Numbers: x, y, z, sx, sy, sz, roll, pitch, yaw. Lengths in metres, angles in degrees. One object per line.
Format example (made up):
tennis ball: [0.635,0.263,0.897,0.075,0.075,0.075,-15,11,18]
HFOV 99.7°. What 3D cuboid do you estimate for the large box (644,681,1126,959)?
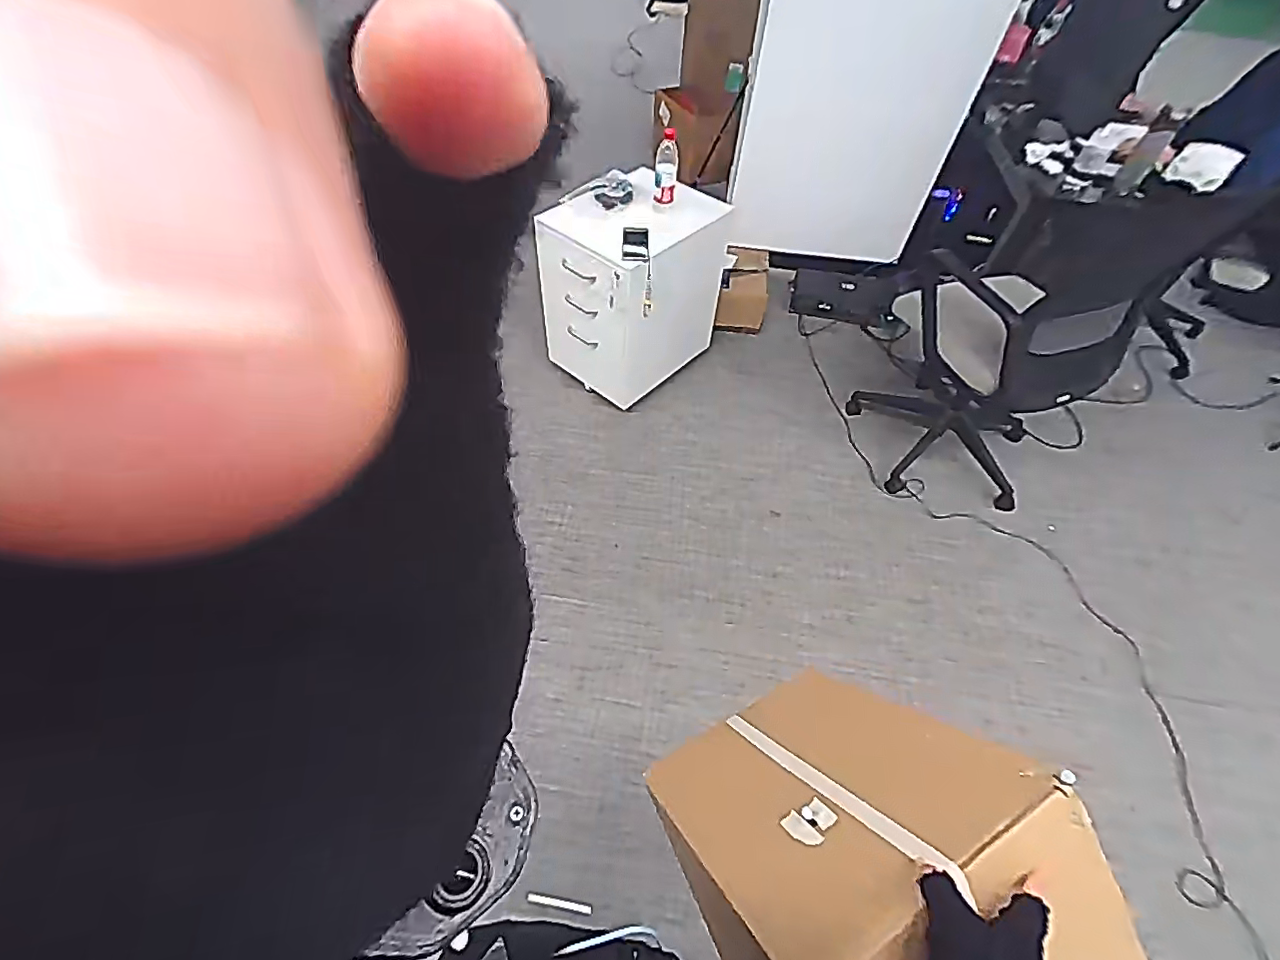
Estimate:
large box: [0.254,0.499,0.641,0.320,0.408,0.320,-25,93,-18]
